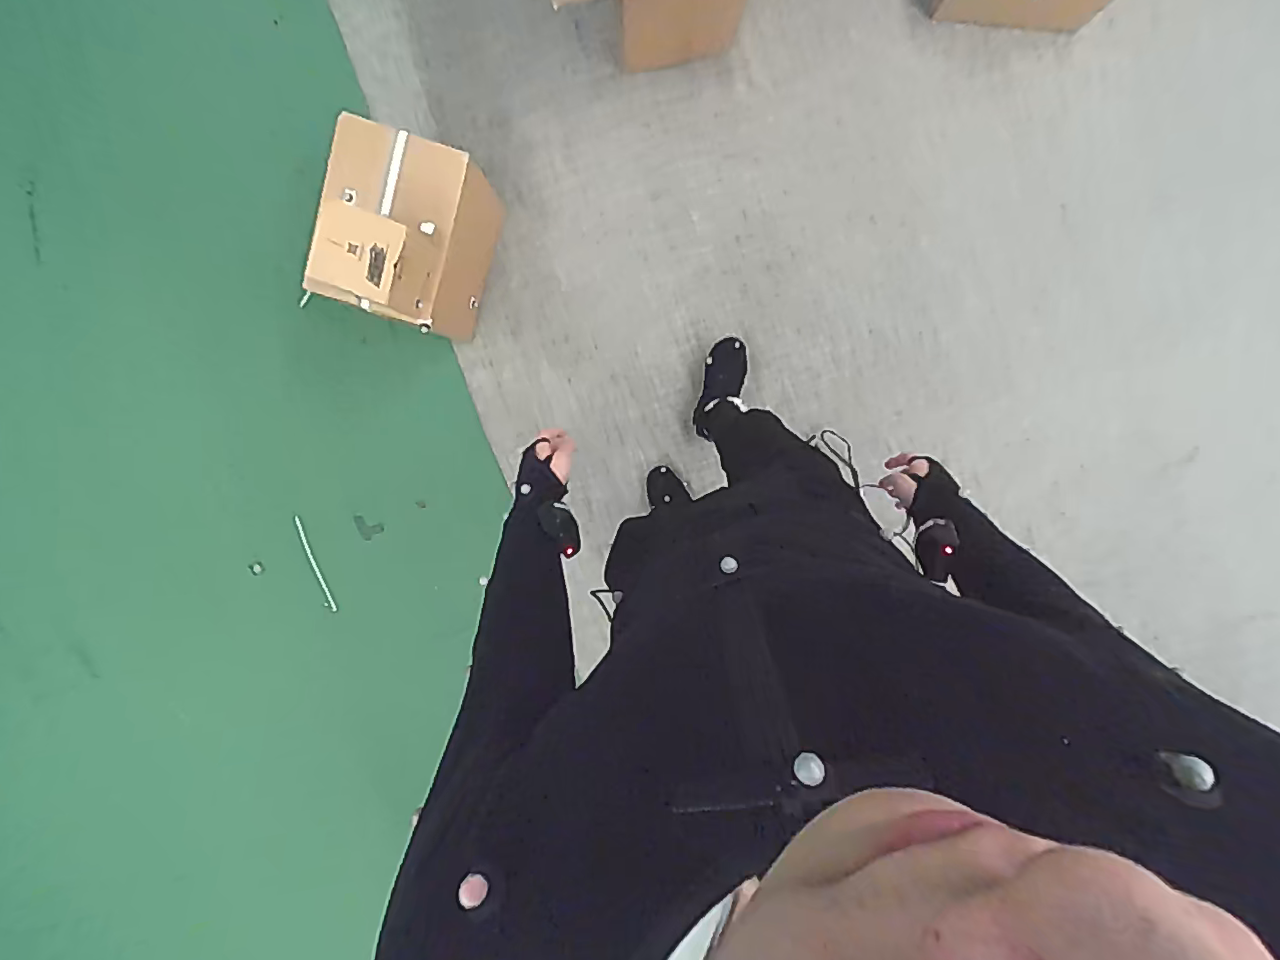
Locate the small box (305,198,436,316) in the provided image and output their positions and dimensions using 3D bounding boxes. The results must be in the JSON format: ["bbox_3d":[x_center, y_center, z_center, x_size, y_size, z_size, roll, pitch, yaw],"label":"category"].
[{"bbox_3d":[-0.568,-0.466,1.164,0.179,0.176,0.168,20,96,-2],"label":"small box"}]

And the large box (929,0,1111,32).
[{"bbox_3d":[0.985,-1.346,1.292,0.408,0.320,0.320,5,96,1],"label":"large box"}]
